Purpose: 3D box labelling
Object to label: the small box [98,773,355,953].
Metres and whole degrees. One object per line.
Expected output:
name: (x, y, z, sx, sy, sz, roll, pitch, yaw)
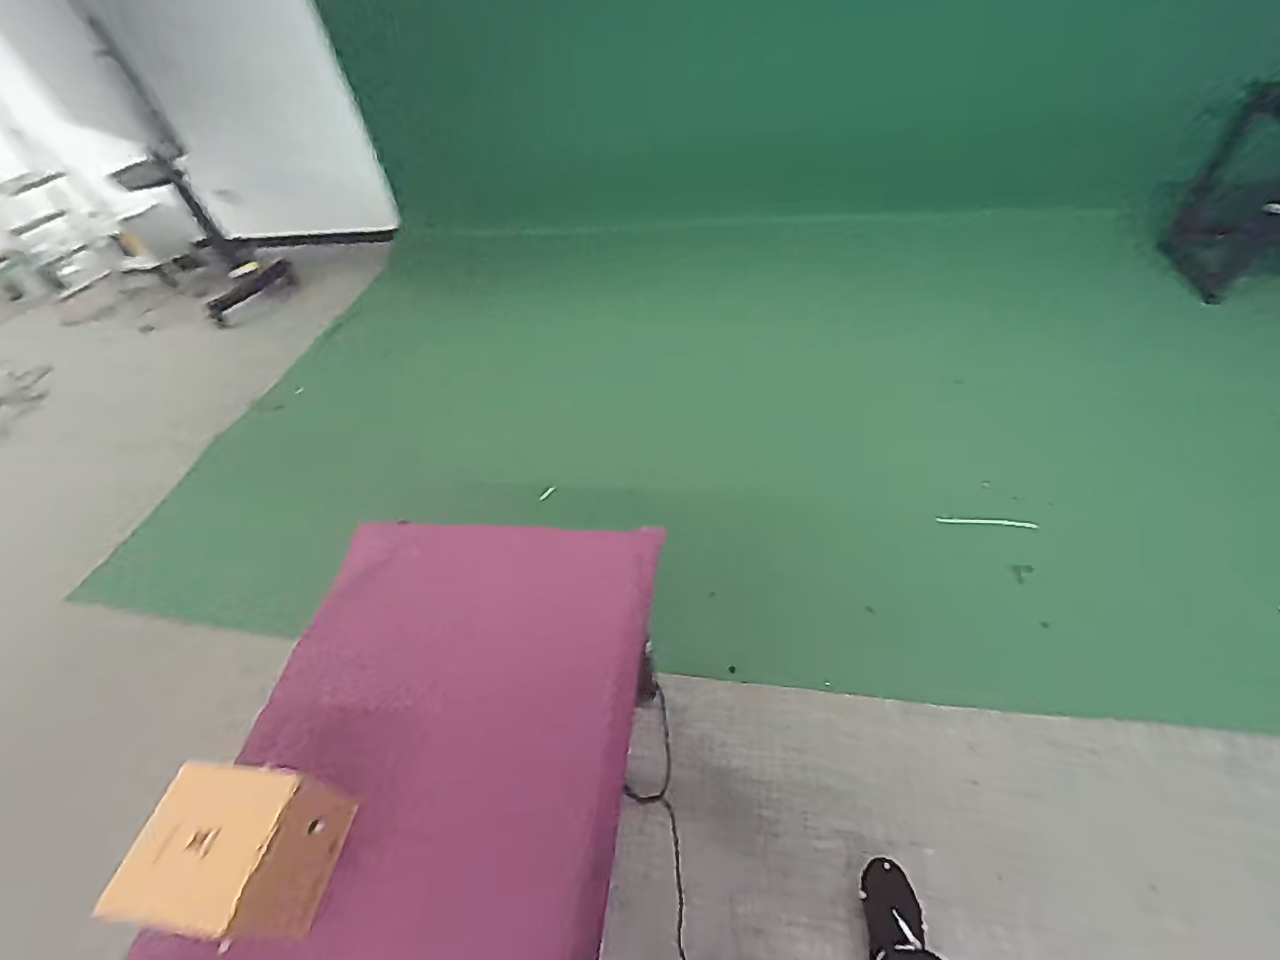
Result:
small box: (-0.524, 0.511, 0.721, 0.179, 0.176, 0.168, 0, 47, 9)
